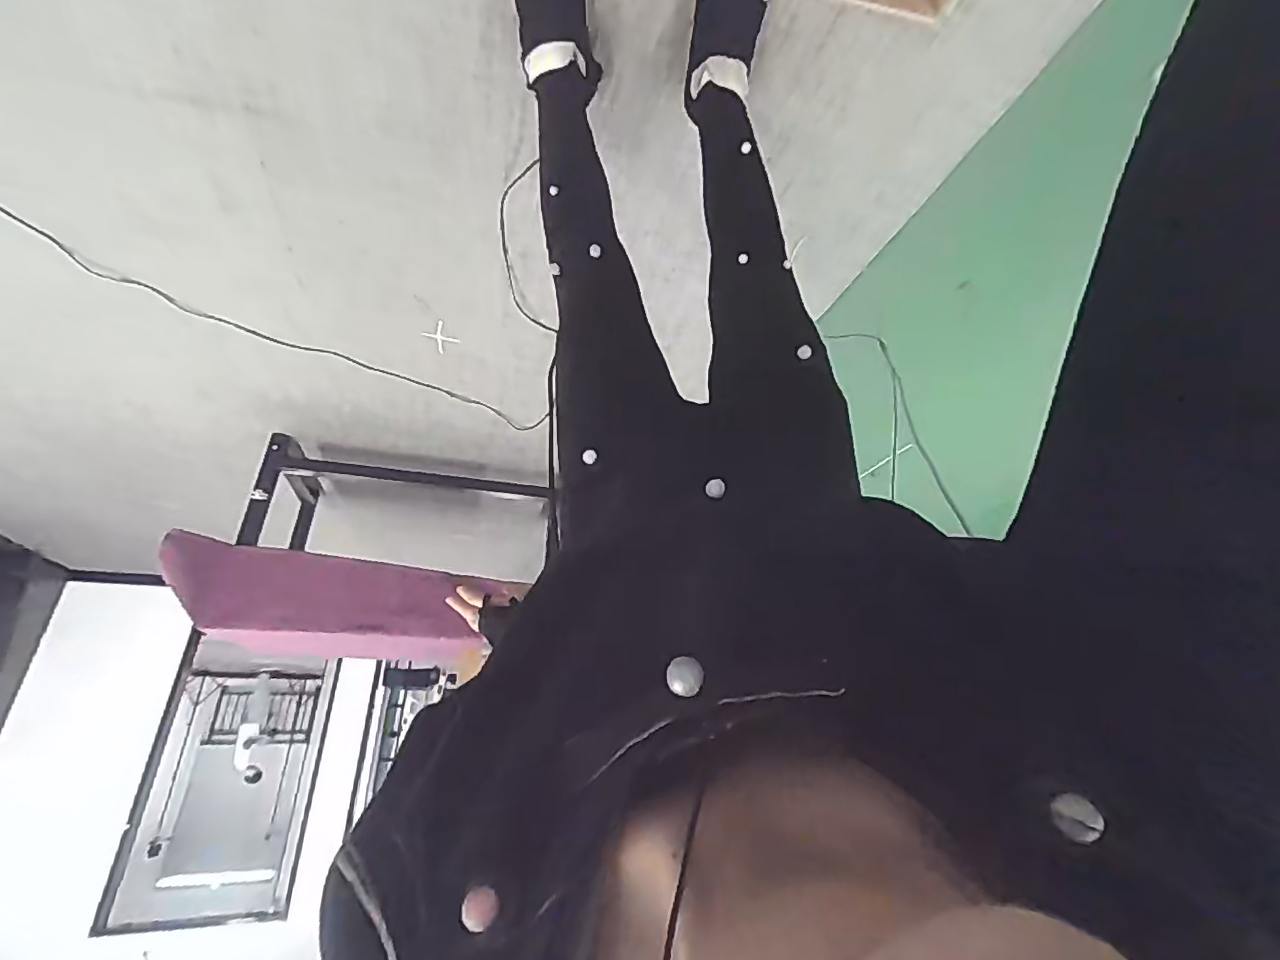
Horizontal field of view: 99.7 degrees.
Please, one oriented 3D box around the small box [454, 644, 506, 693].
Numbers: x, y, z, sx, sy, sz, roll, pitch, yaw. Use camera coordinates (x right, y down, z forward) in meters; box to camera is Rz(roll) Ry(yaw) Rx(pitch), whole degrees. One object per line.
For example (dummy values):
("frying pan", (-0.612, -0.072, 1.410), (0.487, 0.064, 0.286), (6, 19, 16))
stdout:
("small box", (-0.638, 0.751, 2.157), (0.179, 0.176, 0.168), (7, 154, -14))
